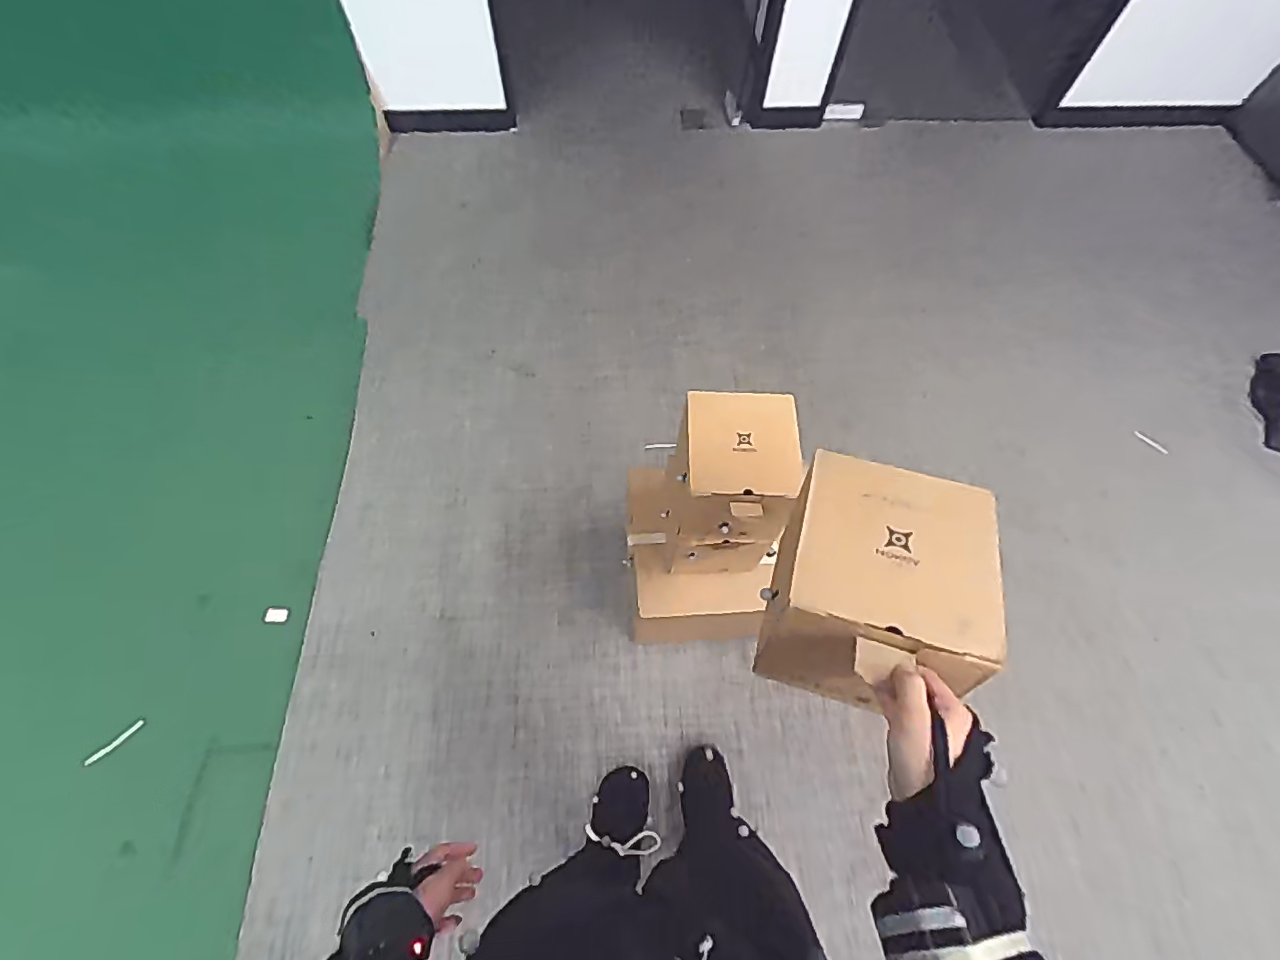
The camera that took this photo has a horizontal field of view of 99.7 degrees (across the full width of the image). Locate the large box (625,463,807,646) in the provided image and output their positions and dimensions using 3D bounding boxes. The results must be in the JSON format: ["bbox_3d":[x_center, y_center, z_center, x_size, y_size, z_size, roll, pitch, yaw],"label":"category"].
[{"bbox_3d":[0.180,0.176,1.211,0.408,0.320,0.320,-3,65,-5],"label":"large box"}]

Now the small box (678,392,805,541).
[{"bbox_3d":[0.150,-0.017,0.851,0.168,0.176,0.179,2,64,-2],"label":"small box"}]

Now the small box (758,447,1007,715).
[{"bbox_3d":[0.219,0.101,0.524,0.168,0.176,0.179,15,52,11],"label":"small box"}]
